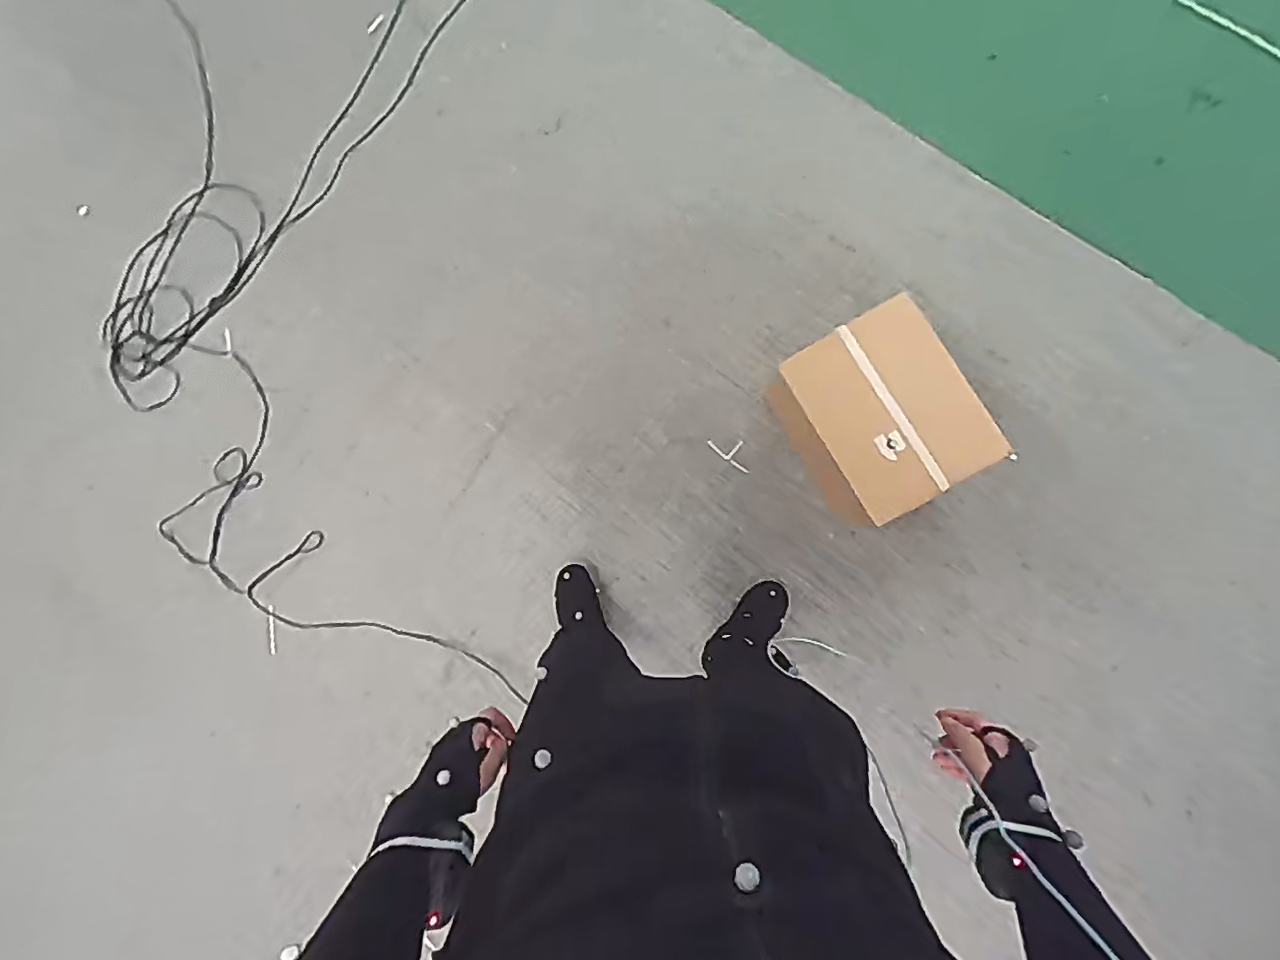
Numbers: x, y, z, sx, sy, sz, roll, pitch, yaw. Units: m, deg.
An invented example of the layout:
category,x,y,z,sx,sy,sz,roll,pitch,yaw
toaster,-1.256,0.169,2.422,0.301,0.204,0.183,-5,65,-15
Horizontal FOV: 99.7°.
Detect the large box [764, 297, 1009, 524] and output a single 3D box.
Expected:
category,x,y,z,sx,sy,sz,roll,pitch,yaw
large box,0.543,-0.140,1.283,0.320,0.320,0.408,-30,83,5
